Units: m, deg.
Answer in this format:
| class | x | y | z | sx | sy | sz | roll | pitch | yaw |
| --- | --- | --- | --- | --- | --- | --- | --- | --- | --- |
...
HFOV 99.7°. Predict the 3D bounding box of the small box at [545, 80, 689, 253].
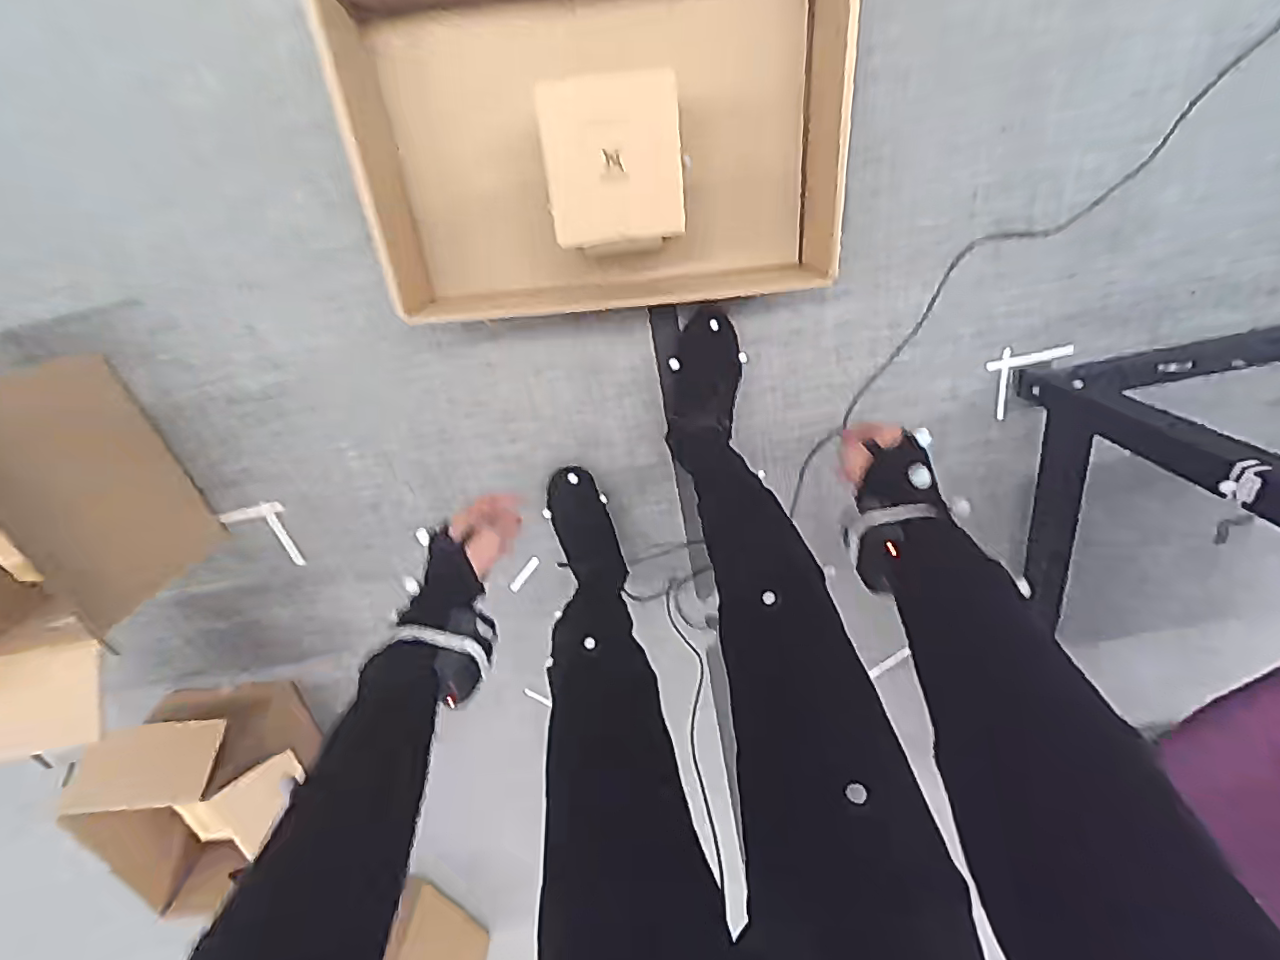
| class | x | y | z | sx | sy | sz | roll | pitch | yaw |
| --- | --- | --- | --- | --- | --- | --- | --- | --- | --- |
| small box | -0.023 | -0.414 | 0.732 | 0.168 | 0.176 | 0.179 | -5 | 116 | 2 |
